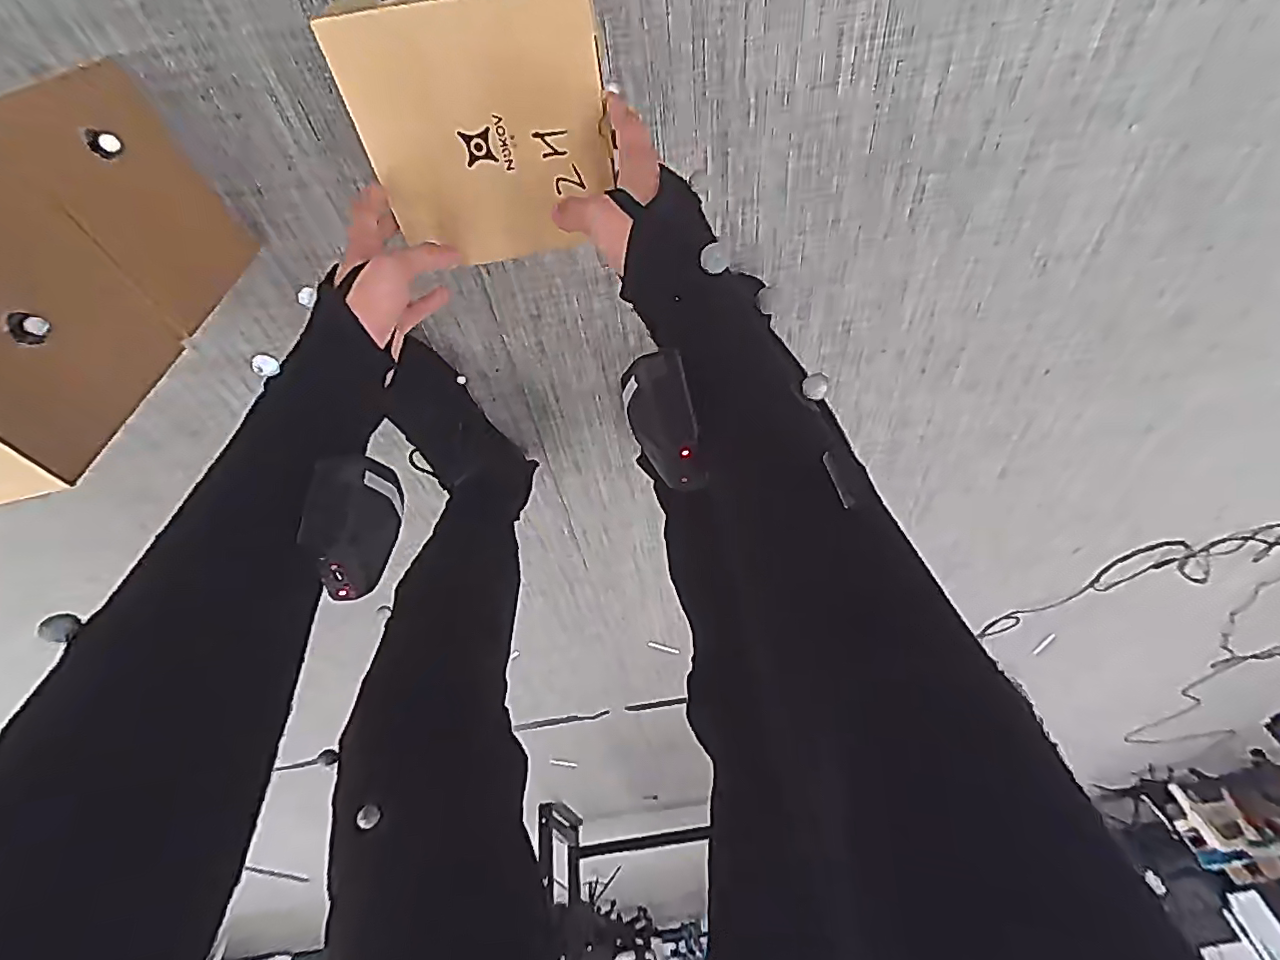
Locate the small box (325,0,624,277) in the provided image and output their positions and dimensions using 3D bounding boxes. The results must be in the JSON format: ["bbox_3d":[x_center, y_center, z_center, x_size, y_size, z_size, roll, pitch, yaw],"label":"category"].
[{"bbox_3d":[-0.113,-0.294,0.447,0.179,0.176,0.168,-9,138,-1],"label":"small box"}]

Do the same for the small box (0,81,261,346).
[{"bbox_3d":[-0.486,-0.218,0.470,0.168,0.176,0.179,-13,137,5],"label":"small box"}]
